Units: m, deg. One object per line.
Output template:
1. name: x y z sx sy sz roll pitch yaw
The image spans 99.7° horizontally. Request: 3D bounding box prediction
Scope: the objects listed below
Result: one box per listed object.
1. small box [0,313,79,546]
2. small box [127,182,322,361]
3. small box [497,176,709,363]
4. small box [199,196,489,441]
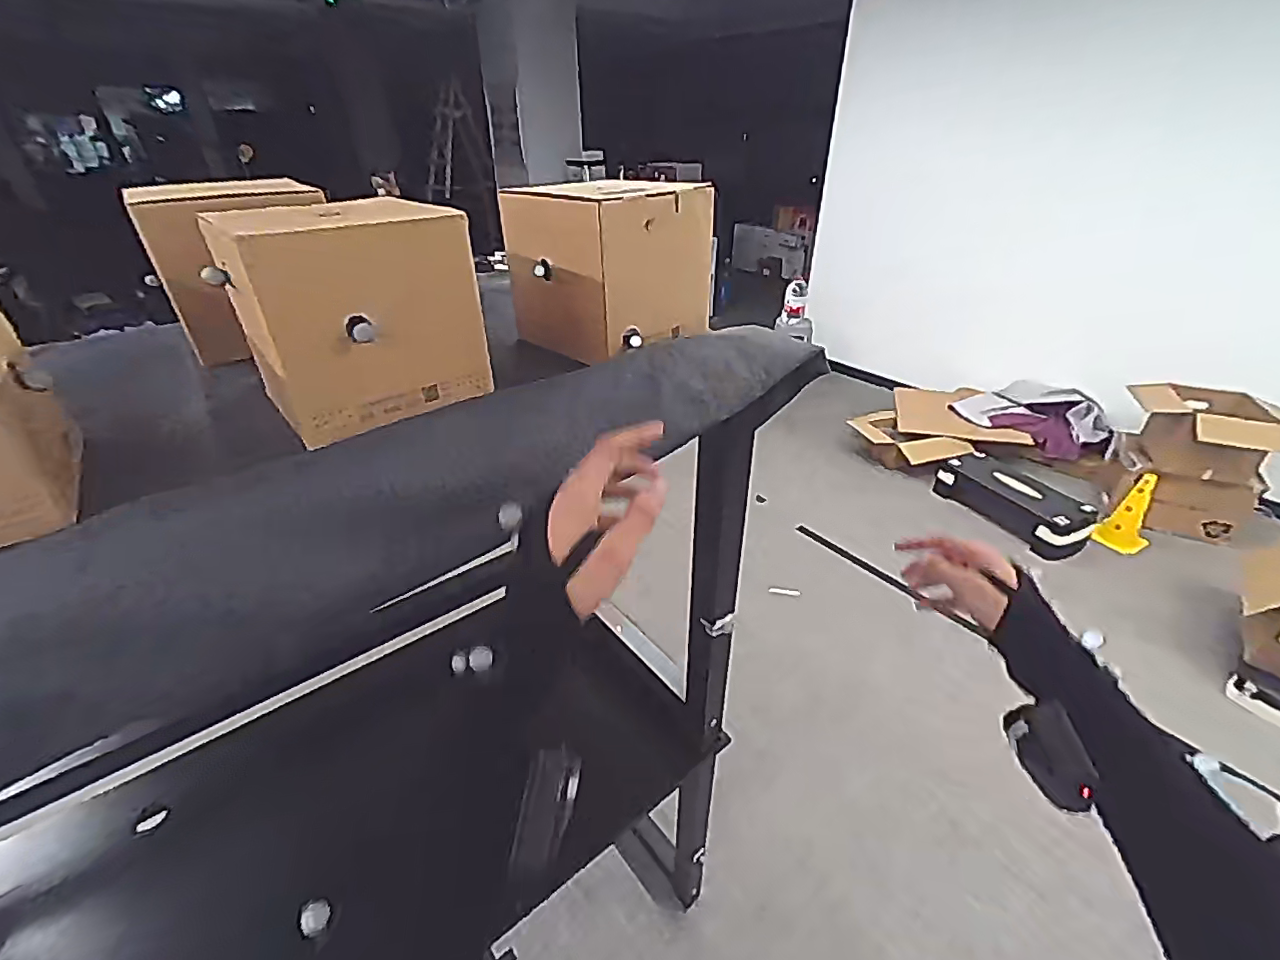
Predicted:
1. small box: -0.495 -0.041 0.326 0.179 0.176 0.168 -24 39 -33
2. small box: -0.470 -0.257 0.656 0.179 0.176 0.168 -24 40 -31
3. small box: -0.038 -0.247 0.628 0.168 0.176 0.179 -29 41 -35
4. small box: -0.257 -0.151 0.492 0.168 0.176 0.179 -26 40 -33
